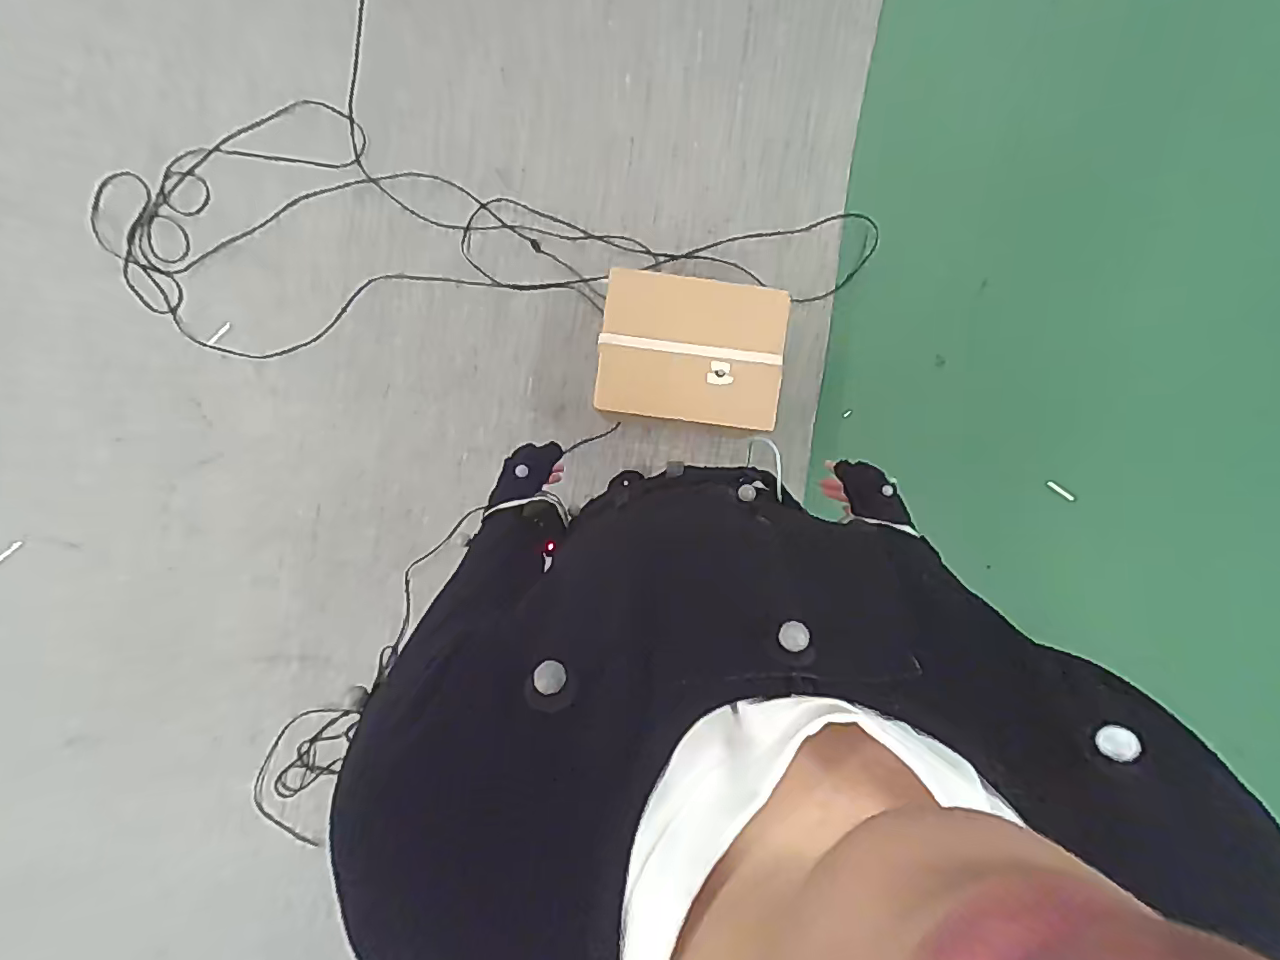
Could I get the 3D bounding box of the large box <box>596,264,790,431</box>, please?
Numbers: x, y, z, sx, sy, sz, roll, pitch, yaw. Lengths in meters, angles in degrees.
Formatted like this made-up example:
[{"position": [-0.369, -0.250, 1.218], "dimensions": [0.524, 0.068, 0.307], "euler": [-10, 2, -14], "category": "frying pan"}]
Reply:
[{"position": [0.109, -0.301, 1.328], "dimensions": [0.408, 0.320, 0.320], "euler": [7, 92, -2], "category": "large box"}]
